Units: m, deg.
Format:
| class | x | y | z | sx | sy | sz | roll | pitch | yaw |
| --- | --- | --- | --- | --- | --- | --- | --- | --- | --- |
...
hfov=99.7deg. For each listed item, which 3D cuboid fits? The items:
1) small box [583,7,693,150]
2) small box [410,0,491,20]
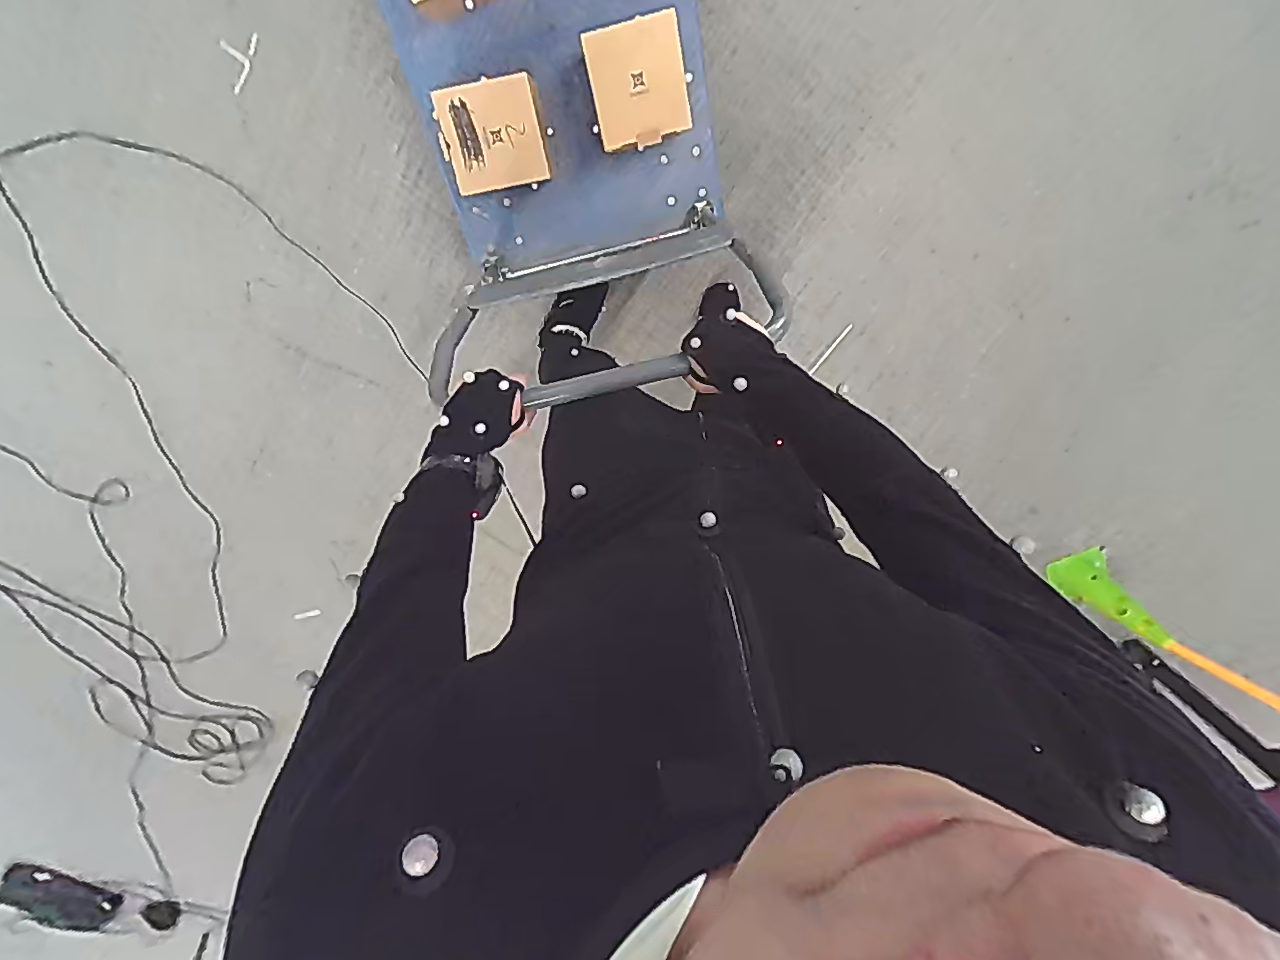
| class | x | y | z | sx | sy | sz | roll | pitch | yaw |
| --- | --- | --- | --- | --- | --- | --- | --- | --- | --- |
| small box | -0.005 | -0.736 | 1.014 | 0.168 | 0.176 | 0.179 | -13 | 121 | 5 |
| small box | -0.325 | -0.902 | 0.893 | 0.168 | 0.176 | 0.179 | -19 | 120 | 7 |
